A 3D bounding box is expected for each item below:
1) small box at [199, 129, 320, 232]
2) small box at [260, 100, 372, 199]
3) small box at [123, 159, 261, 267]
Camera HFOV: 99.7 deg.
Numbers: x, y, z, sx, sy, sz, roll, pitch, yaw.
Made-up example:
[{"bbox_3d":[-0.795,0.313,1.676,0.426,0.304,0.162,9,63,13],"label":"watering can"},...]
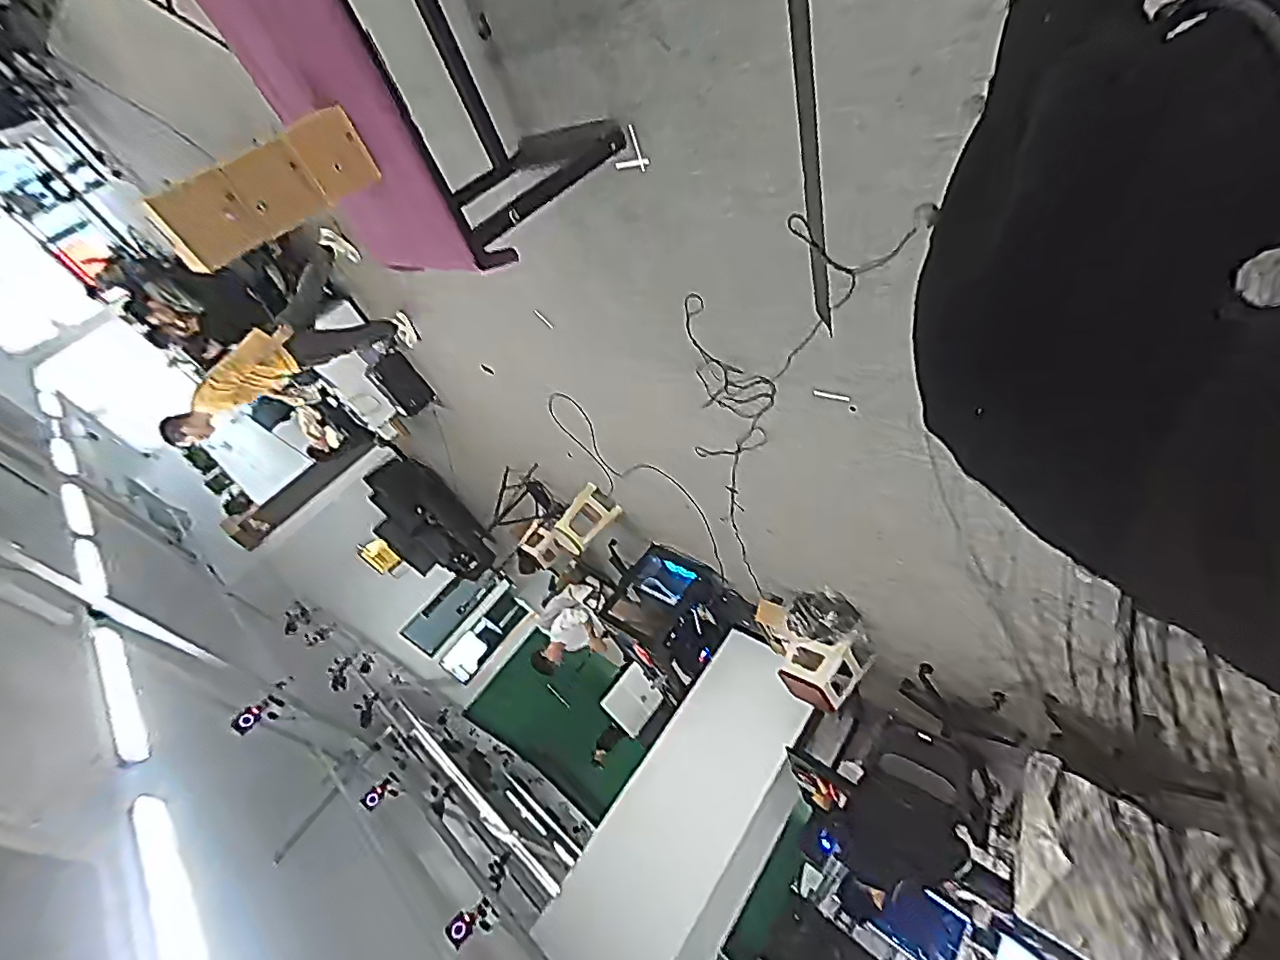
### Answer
[{"bbox_3d":[-0.928,-0.729,1.320,0.179,0.176,0.168,22,151,38],"label":"small box"},{"bbox_3d":[-0.825,-0.842,1.381,0.179,0.176,0.168,22,150,37],"label":"small box"},{"bbox_3d":[-1.027,-0.617,1.250,0.179,0.176,0.168,21,150,37],"label":"small box"}]
